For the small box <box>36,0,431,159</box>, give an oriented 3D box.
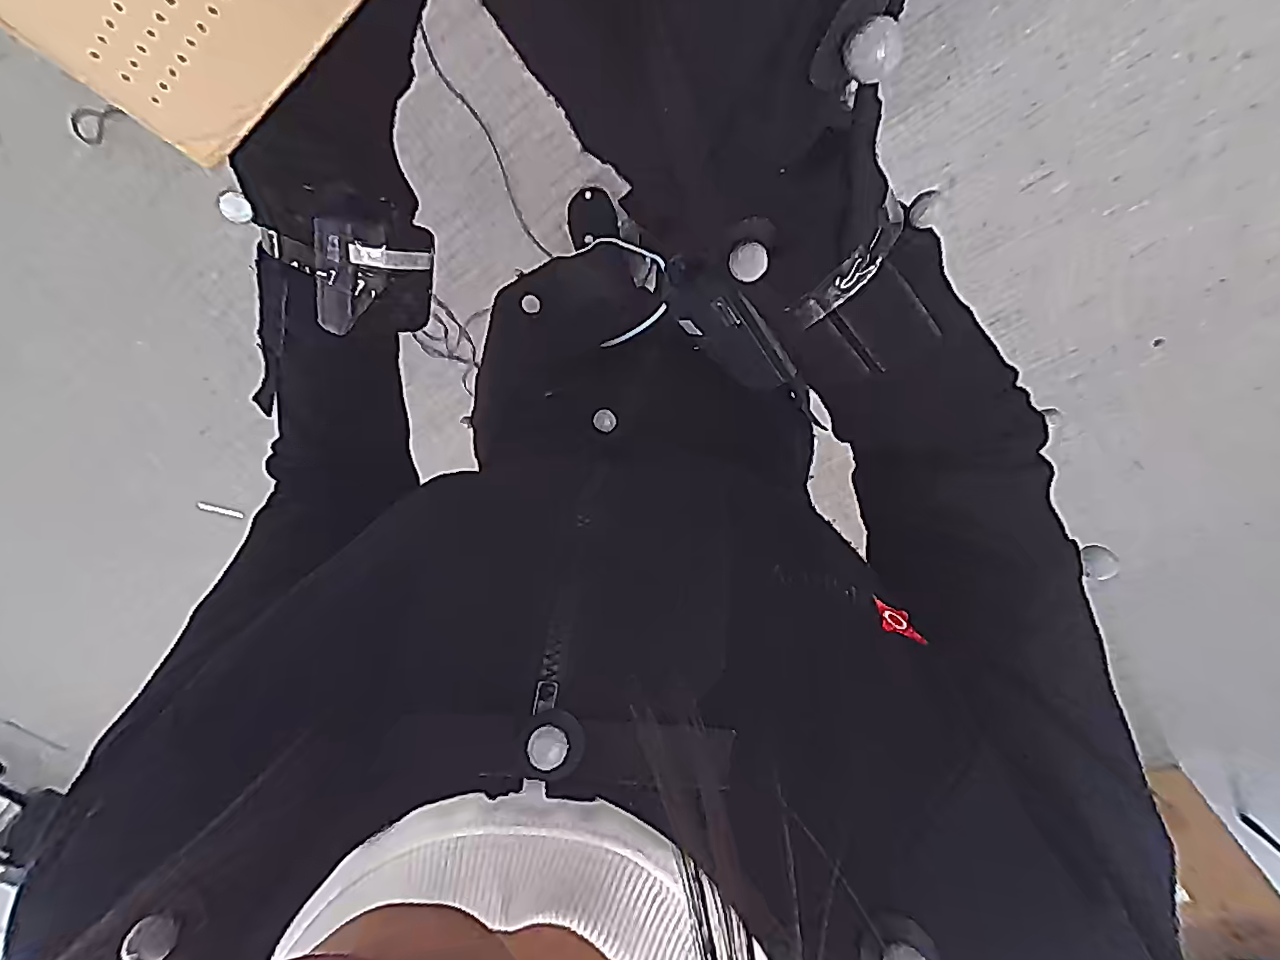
[{"bbox_3d":[-0.103,-0.220,0.117,0.179,0.168,0.176,-11,152,33],"label":"small box"}]
